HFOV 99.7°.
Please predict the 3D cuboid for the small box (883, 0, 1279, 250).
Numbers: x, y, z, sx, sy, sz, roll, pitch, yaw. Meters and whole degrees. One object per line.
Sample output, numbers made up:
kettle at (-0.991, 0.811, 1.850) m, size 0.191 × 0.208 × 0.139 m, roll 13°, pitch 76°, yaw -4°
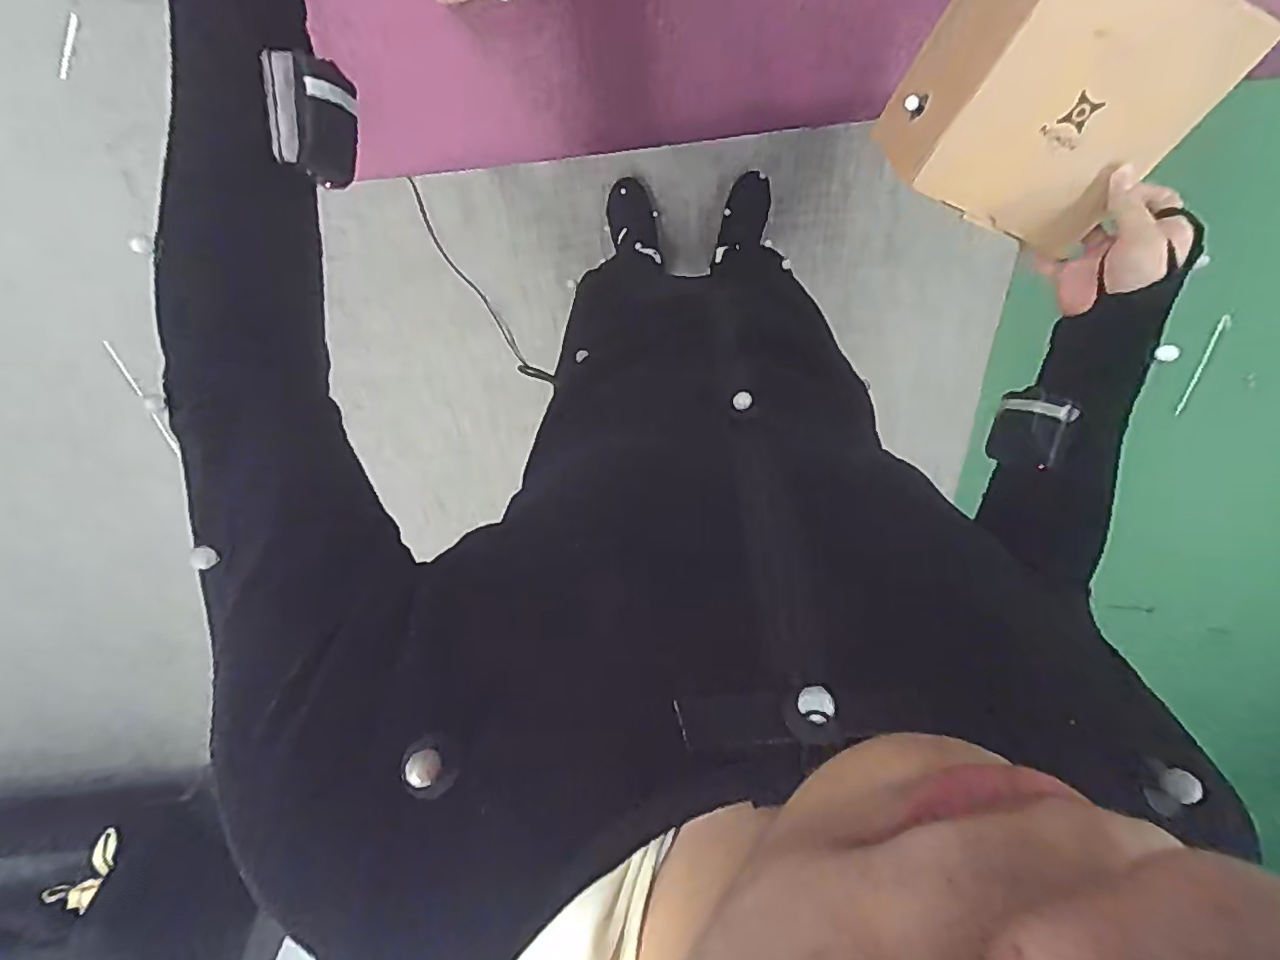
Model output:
small box at (0.333, -0.339, 0.458) m, size 0.168 × 0.176 × 0.179 m, roll 18°, pitch 137°, yaw -11°
